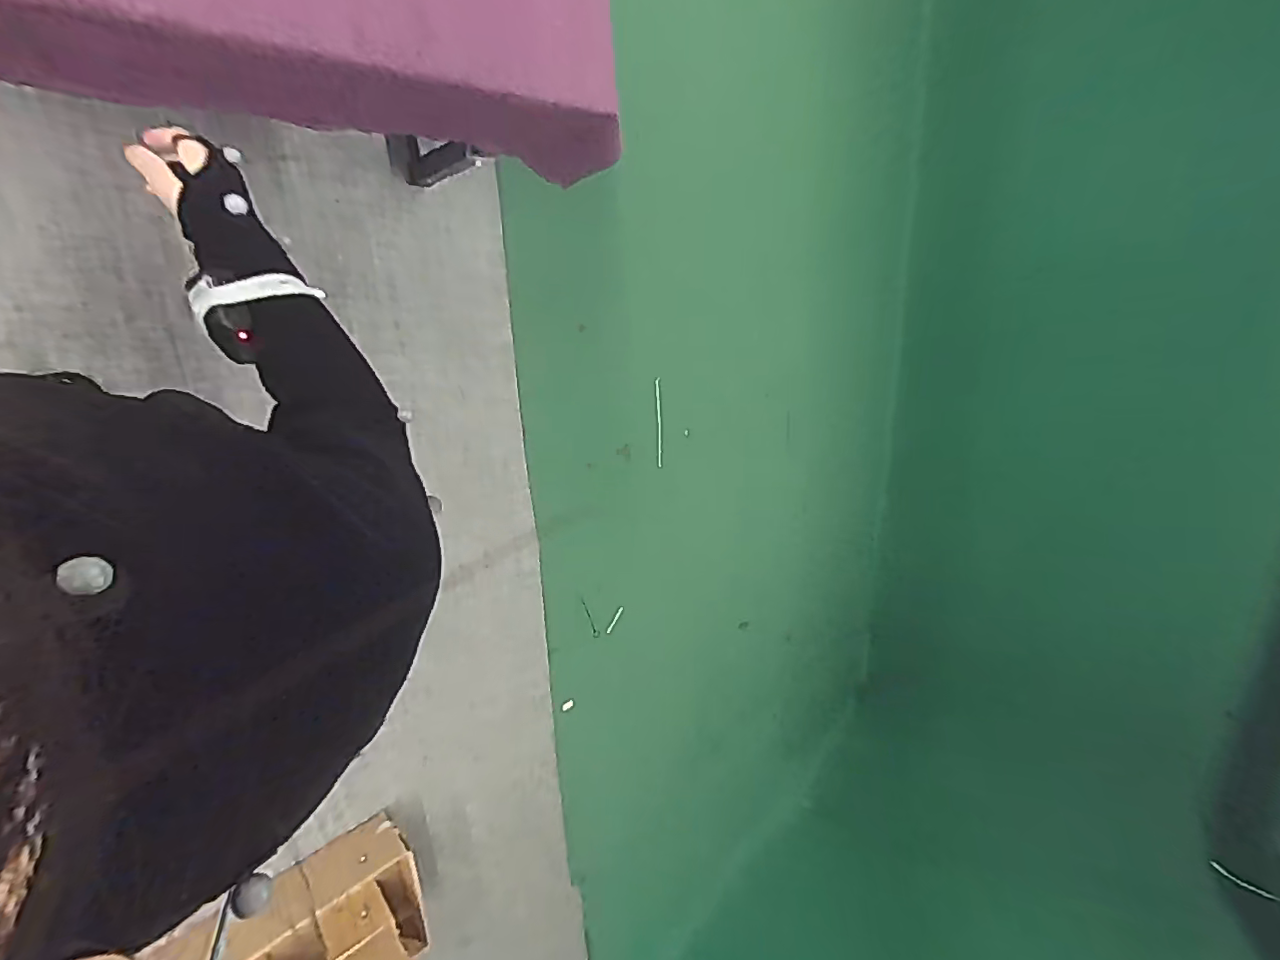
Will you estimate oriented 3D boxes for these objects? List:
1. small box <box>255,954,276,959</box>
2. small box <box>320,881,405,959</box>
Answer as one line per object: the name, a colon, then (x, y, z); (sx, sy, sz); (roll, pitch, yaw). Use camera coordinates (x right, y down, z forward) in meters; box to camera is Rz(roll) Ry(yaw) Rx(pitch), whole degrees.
small box: (-0.992, 1.367, 1.368); (0.168, 0.176, 0.179); (-19, 112, -42)
small box: (-0.798, 1.304, 1.551); (0.168, 0.176, 0.179); (-13, 109, -42)
